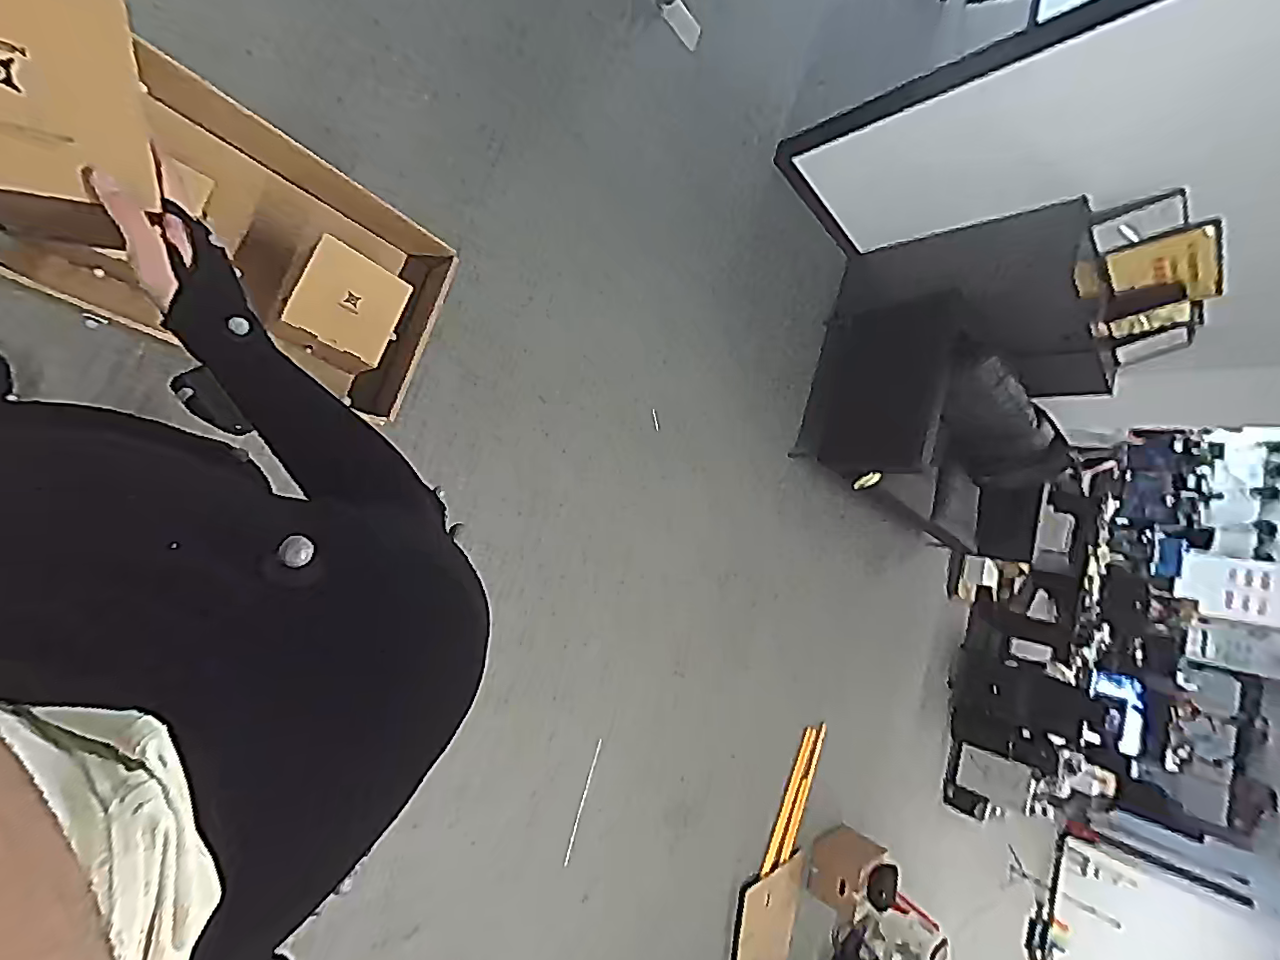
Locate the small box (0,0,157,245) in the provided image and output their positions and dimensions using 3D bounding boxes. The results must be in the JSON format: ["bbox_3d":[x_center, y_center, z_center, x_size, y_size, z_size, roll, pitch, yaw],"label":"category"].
[{"bbox_3d":[-0.526,-0.310,0.438,0.168,0.176,0.179,-13,104,-46],"label":"small box"}]
